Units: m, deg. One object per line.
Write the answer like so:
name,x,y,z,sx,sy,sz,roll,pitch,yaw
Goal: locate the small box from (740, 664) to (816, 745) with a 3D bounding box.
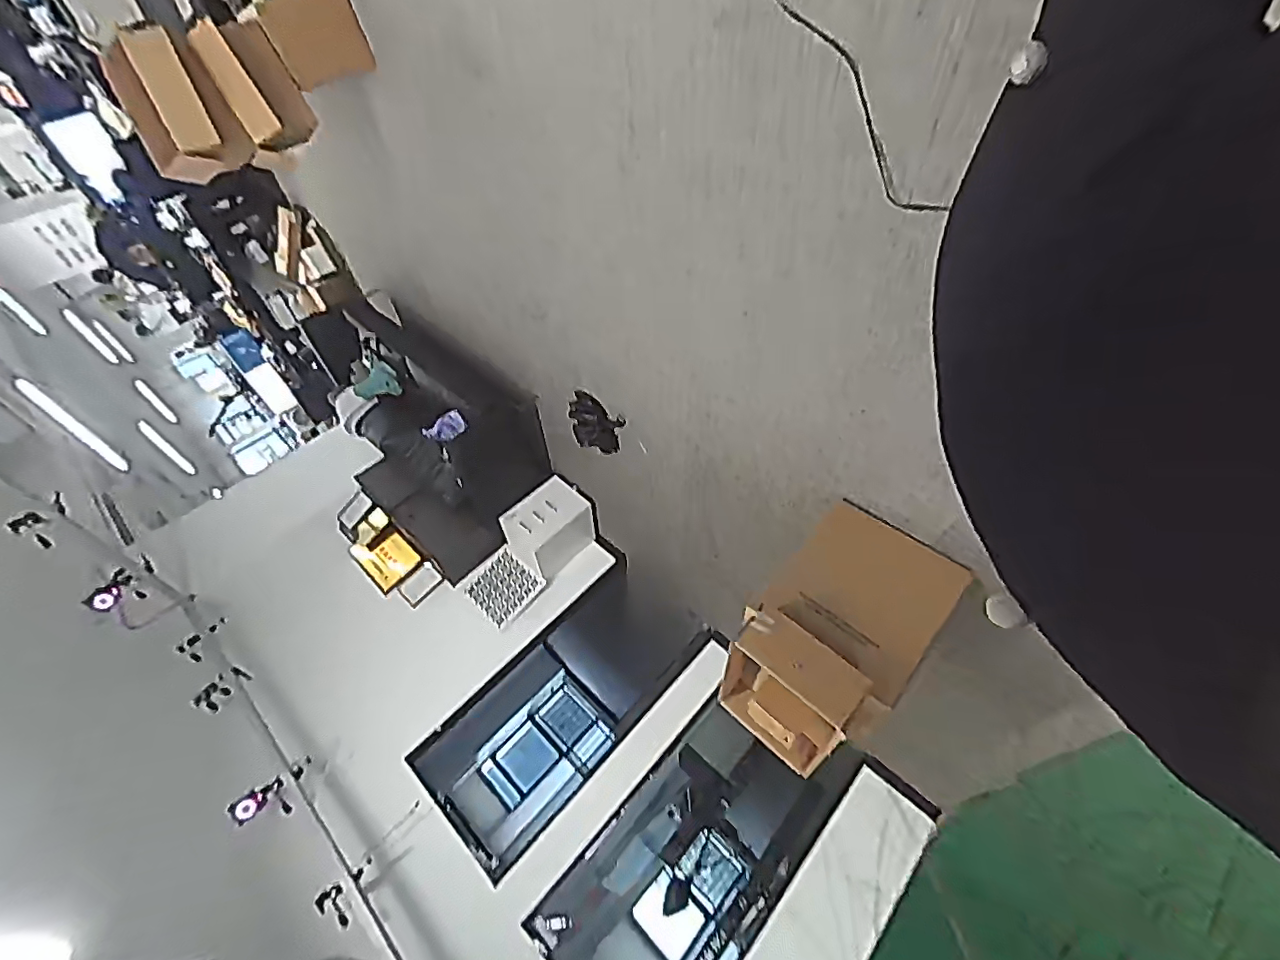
small box,0.462,0.746,1.821,0.179,0.176,0.168,36,153,29
